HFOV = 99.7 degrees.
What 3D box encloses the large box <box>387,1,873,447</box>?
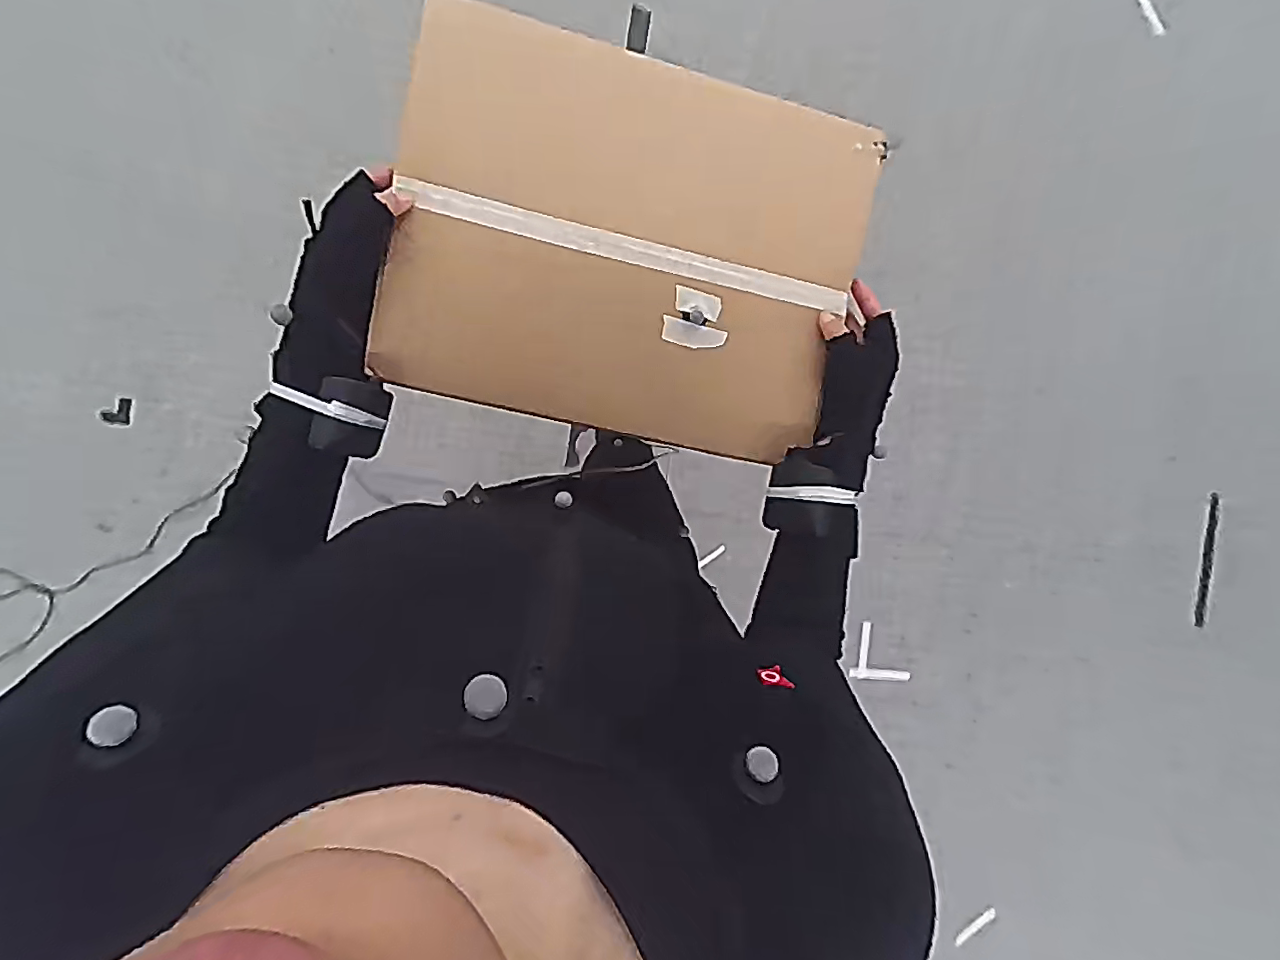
[{"bbox_3d":[-0.023,-0.232,0.633,0.408,0.320,0.320,11,97,-9],"label":"large box"}]
